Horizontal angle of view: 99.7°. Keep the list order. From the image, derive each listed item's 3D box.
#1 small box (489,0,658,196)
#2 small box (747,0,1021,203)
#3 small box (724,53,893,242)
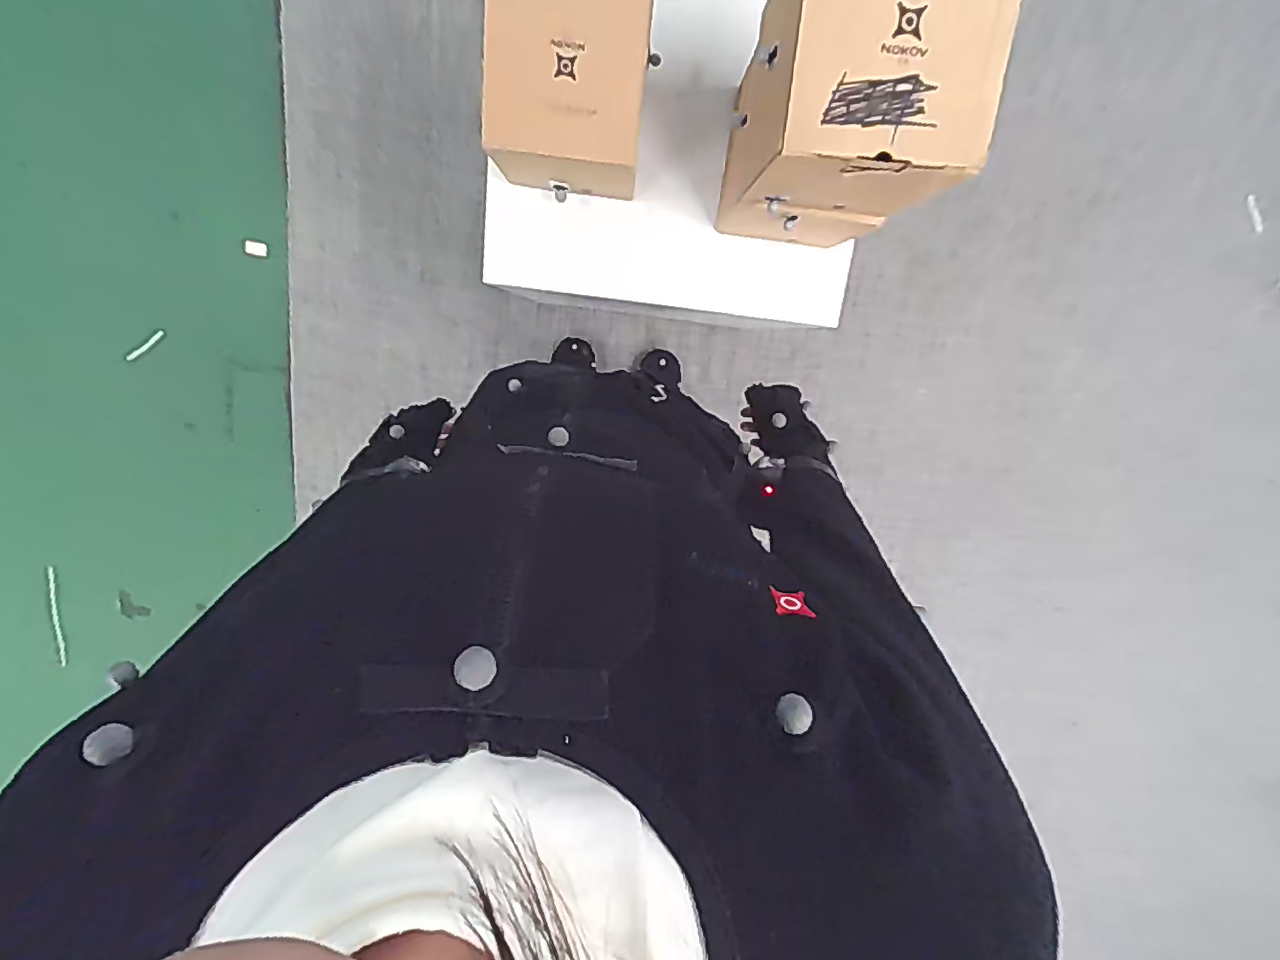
[{"bbox_3d":[-0.071,-0.448,0.624,0.168,0.176,0.179,5,107,-2],"label":"small box"},{"bbox_3d":[0.197,-0.361,0.480,0.168,0.176,0.179,4,105,-2],"label":"small box"},{"bbox_3d":[0.201,-0.398,0.640,0.168,0.176,0.179,7,105,-2],"label":"small box"}]
